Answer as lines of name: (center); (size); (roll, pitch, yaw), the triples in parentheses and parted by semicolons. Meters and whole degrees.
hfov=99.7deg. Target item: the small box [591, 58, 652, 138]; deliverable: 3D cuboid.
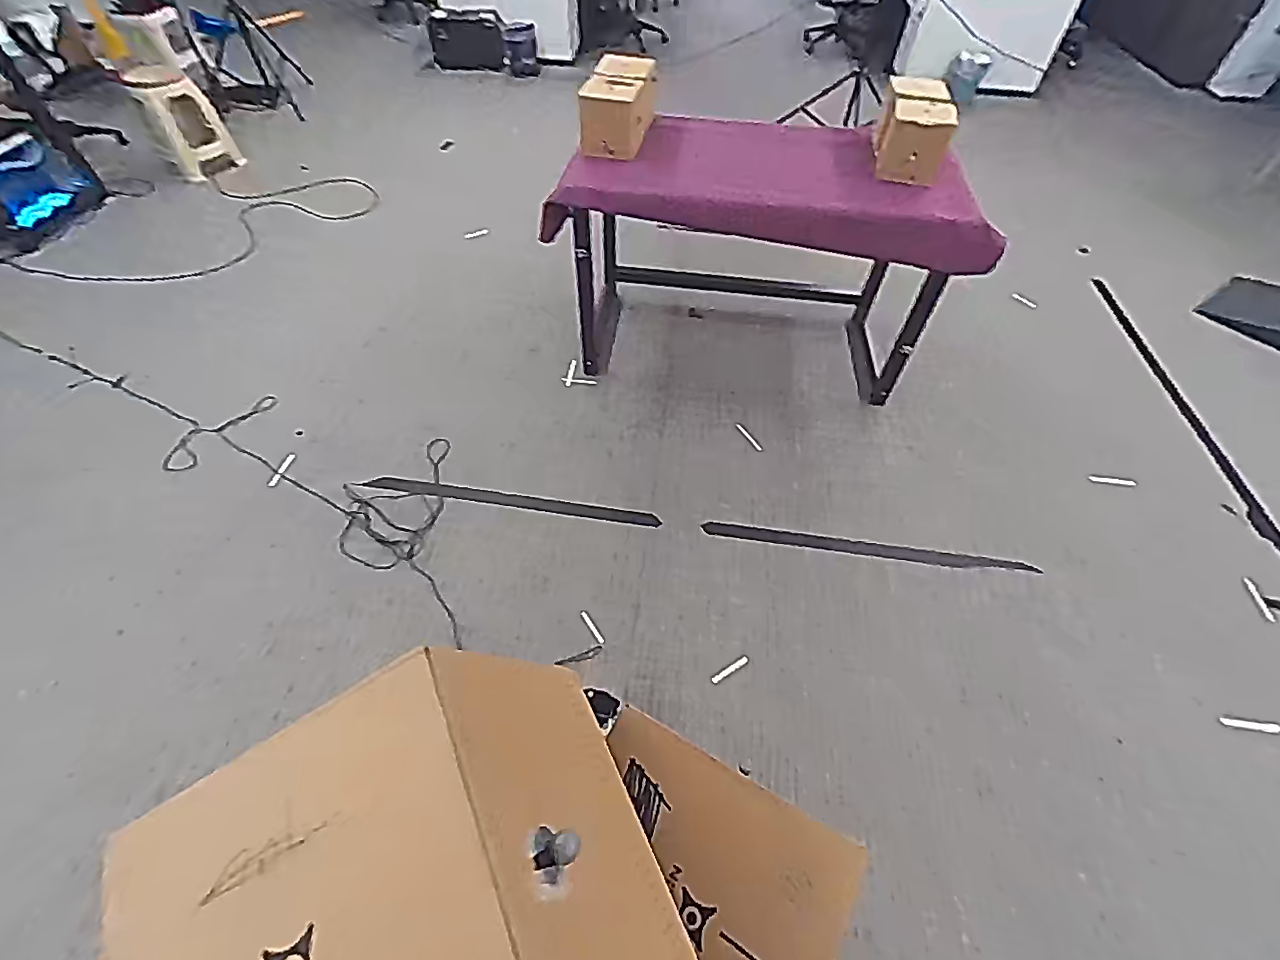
small box: (-0.061, -1.274, 1.802); (0.168, 0.176, 0.179); (10, 54, 6)

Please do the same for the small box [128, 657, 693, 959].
small box: (-0.092, 0.209, 0.265); (0.168, 0.176, 0.179); (-31, 62, 2)

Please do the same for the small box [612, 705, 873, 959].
small box: (0.036, 0.295, 0.398); (0.179, 0.176, 0.168); (25, 67, 17)

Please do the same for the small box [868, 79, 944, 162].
small box: (0.849, -1.161, 1.746); (0.168, 0.176, 0.179); (10, 52, 5)
